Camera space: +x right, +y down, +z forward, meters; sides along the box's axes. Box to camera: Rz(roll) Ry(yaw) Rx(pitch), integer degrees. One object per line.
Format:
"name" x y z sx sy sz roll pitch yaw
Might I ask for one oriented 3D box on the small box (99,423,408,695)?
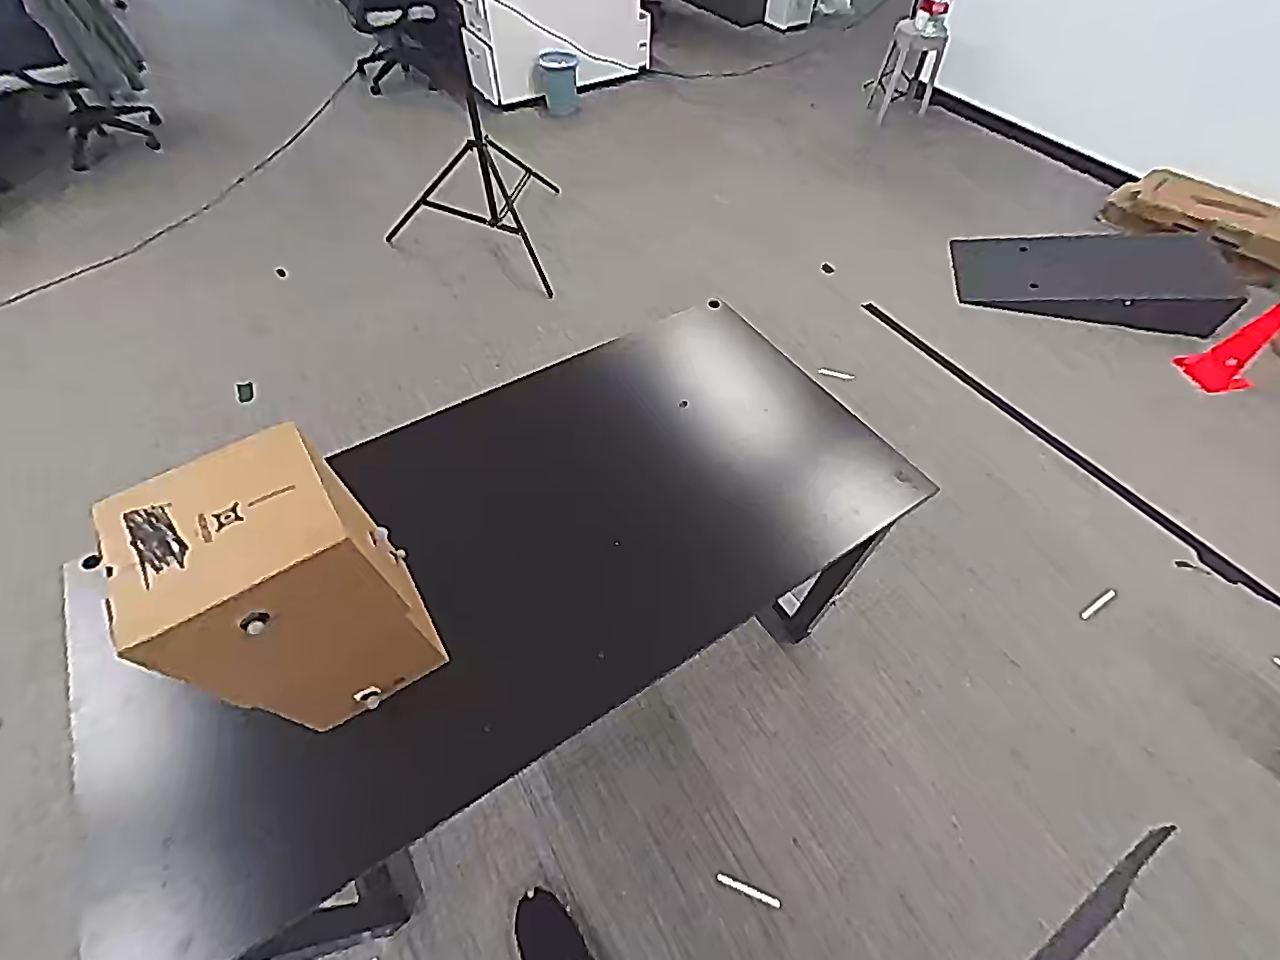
"small box" -0.367 0.083 0.538 0.179 0.176 0.168 -31 60 -20

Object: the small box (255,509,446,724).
"small box" -0.370 0.173 0.677 0.168 0.176 0.179 -30 61 -18
